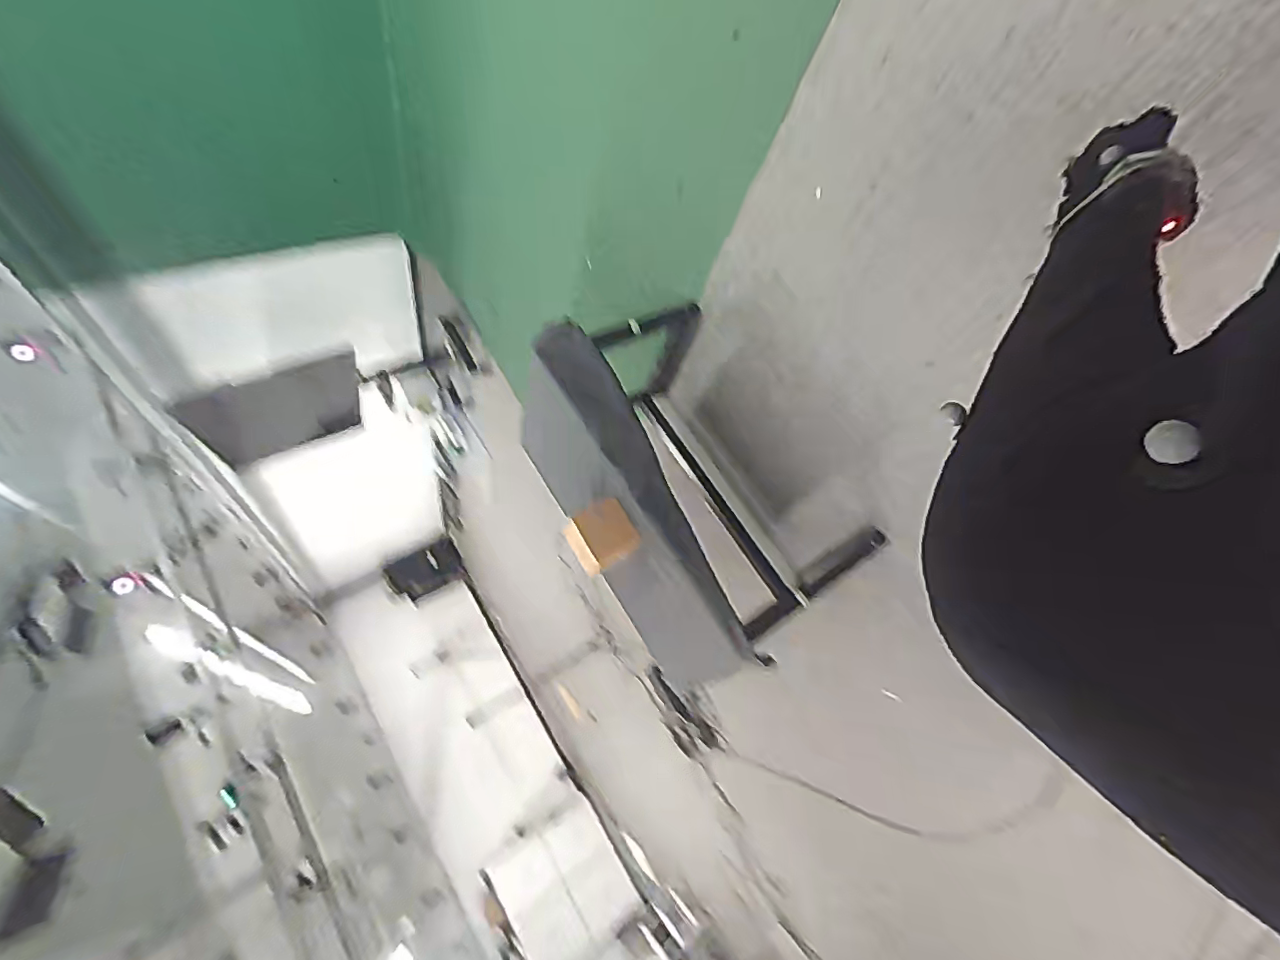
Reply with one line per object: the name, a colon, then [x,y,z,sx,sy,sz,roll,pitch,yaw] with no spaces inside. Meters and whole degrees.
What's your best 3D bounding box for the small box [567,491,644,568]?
small box: [-0.115,0.155,1.767,0.179,0.176,0.168,57,154,13]
